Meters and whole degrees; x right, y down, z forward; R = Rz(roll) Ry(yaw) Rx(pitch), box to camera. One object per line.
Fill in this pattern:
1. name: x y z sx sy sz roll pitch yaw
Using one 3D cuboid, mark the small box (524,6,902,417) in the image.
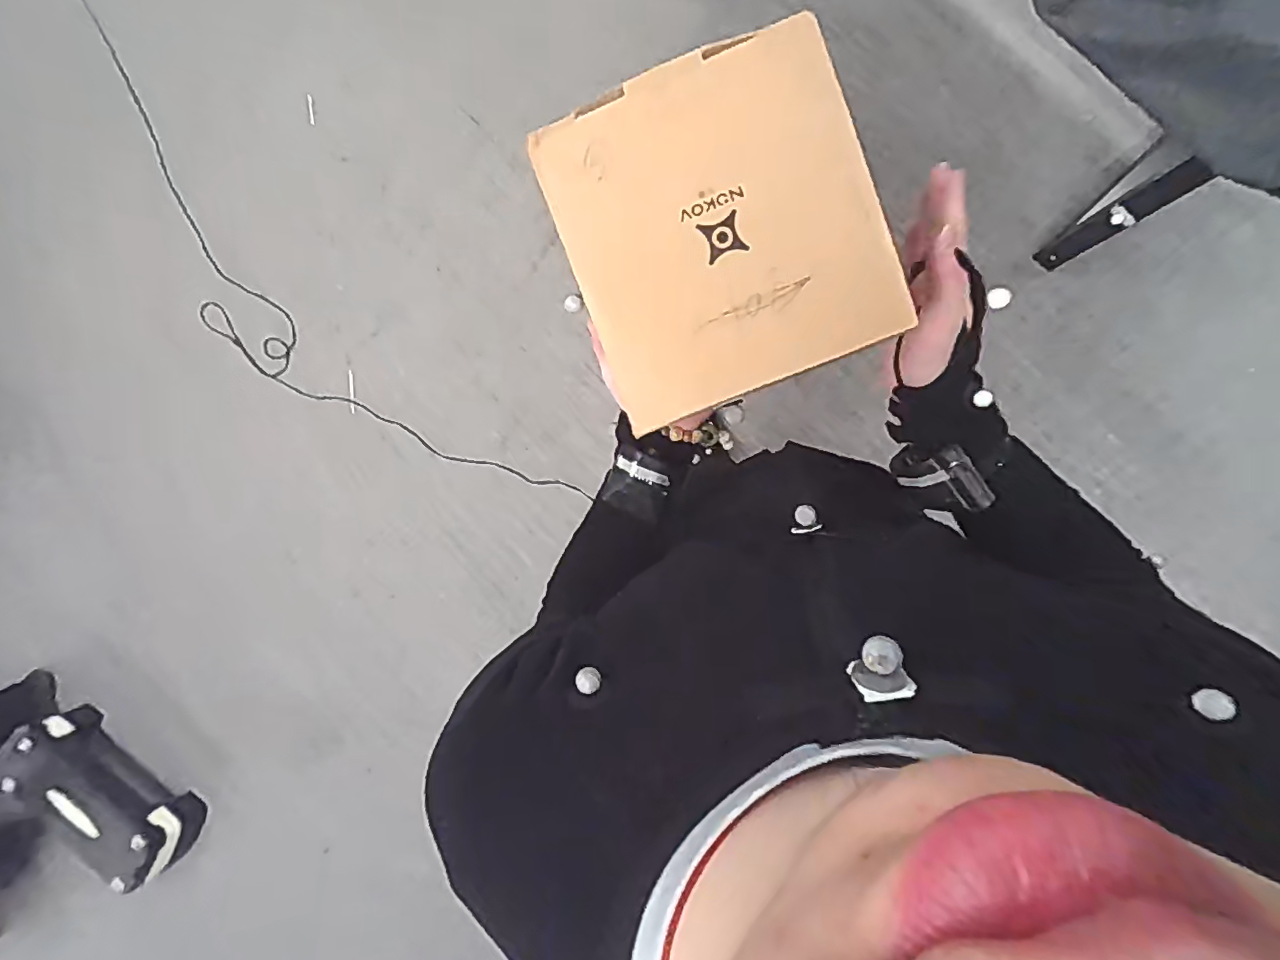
1. small box: 0.043 -0.150 0.374 0.168 0.176 0.179 -20 95 5
